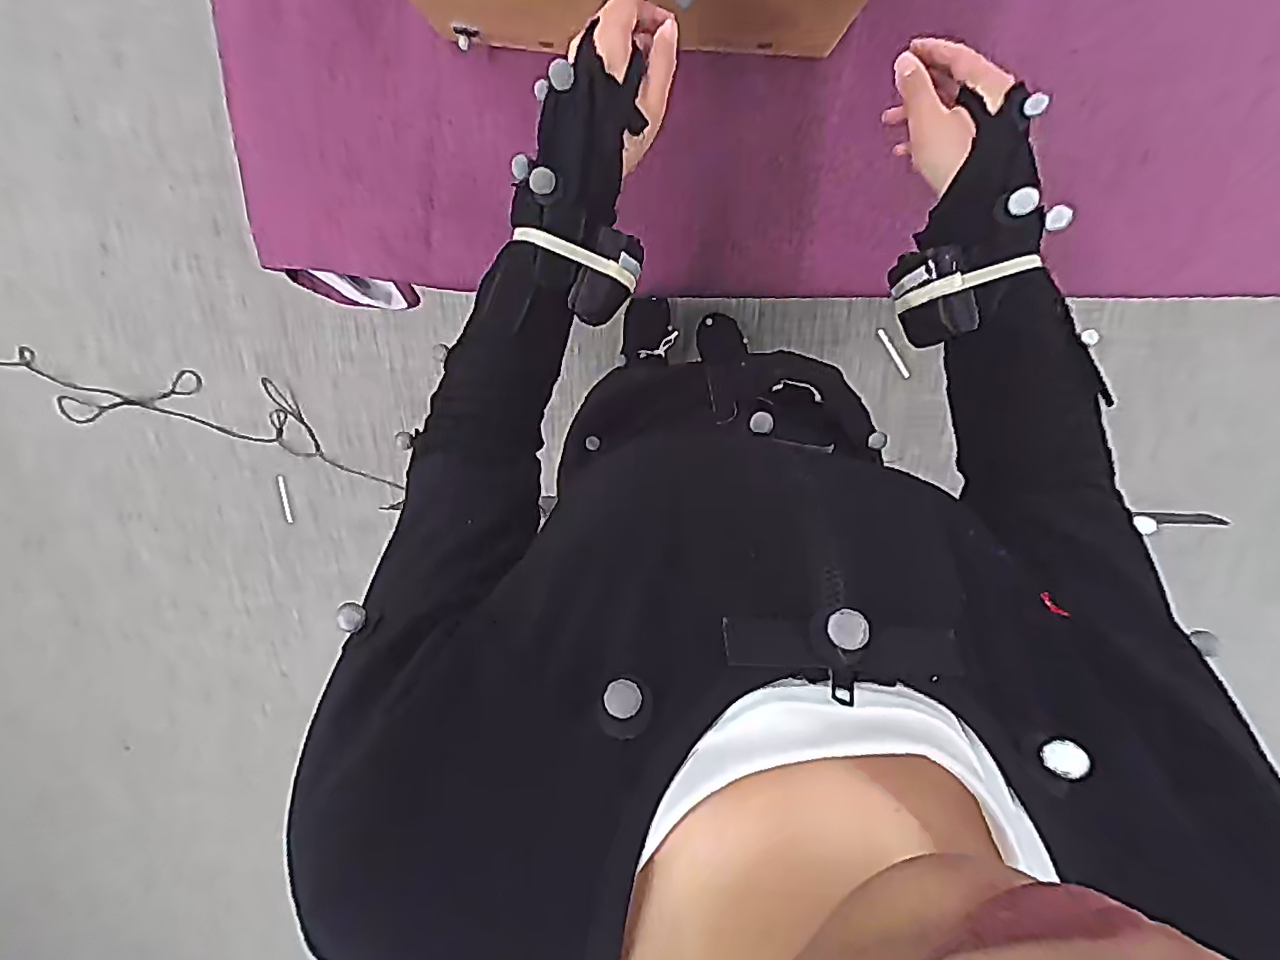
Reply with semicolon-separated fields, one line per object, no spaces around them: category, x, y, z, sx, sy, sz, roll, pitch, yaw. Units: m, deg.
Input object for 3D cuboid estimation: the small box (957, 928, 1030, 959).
small box;1.089;1.504;1.634;0.168;0.176;0.179;-2;109;3
